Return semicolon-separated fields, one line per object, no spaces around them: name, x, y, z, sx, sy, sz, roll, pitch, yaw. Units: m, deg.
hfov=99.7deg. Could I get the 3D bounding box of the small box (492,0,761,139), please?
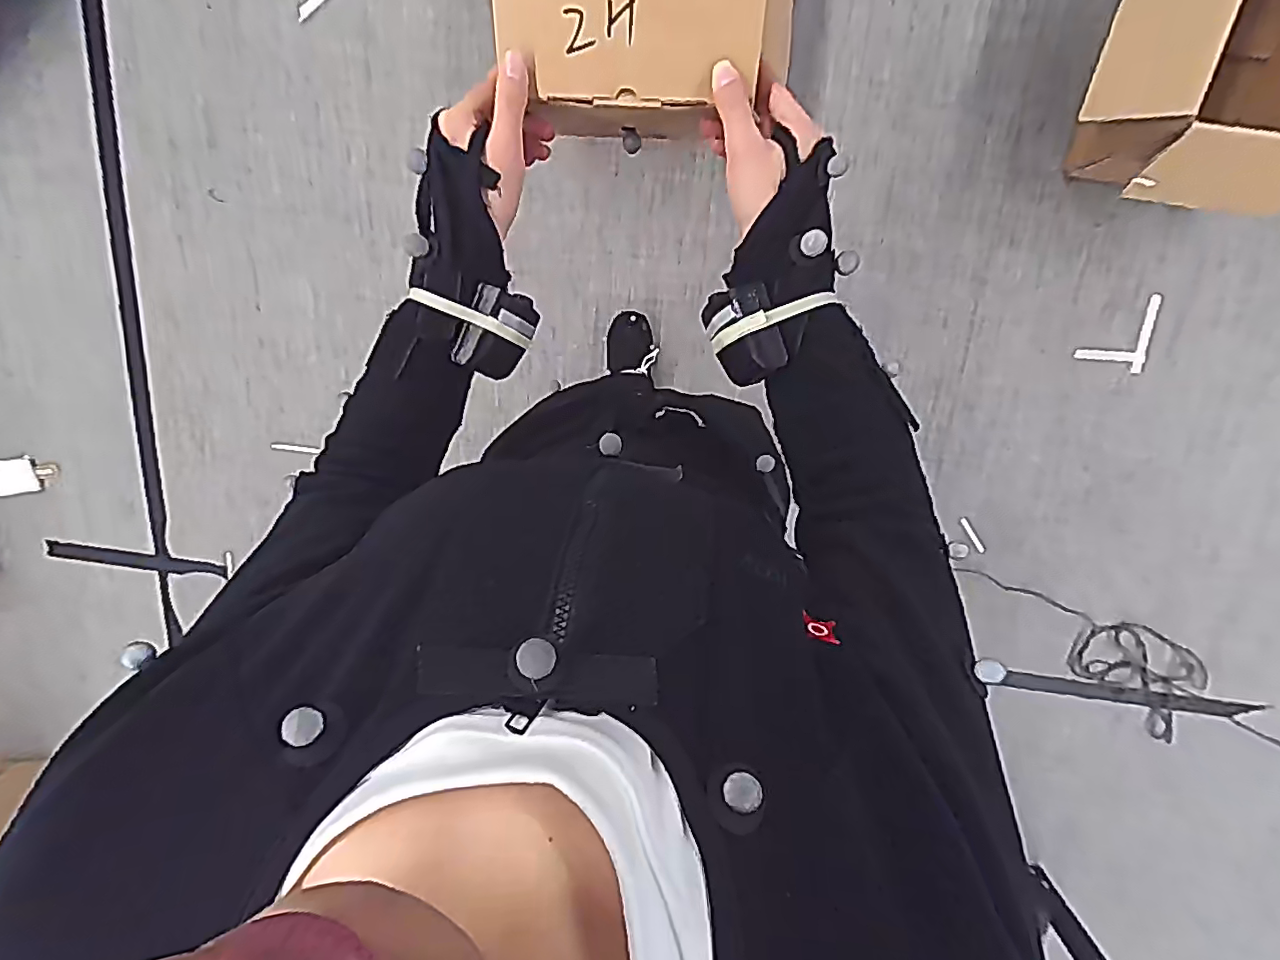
small box;-0.005;-0.357;0.381;0.168;0.176;0.179;3;116;0
